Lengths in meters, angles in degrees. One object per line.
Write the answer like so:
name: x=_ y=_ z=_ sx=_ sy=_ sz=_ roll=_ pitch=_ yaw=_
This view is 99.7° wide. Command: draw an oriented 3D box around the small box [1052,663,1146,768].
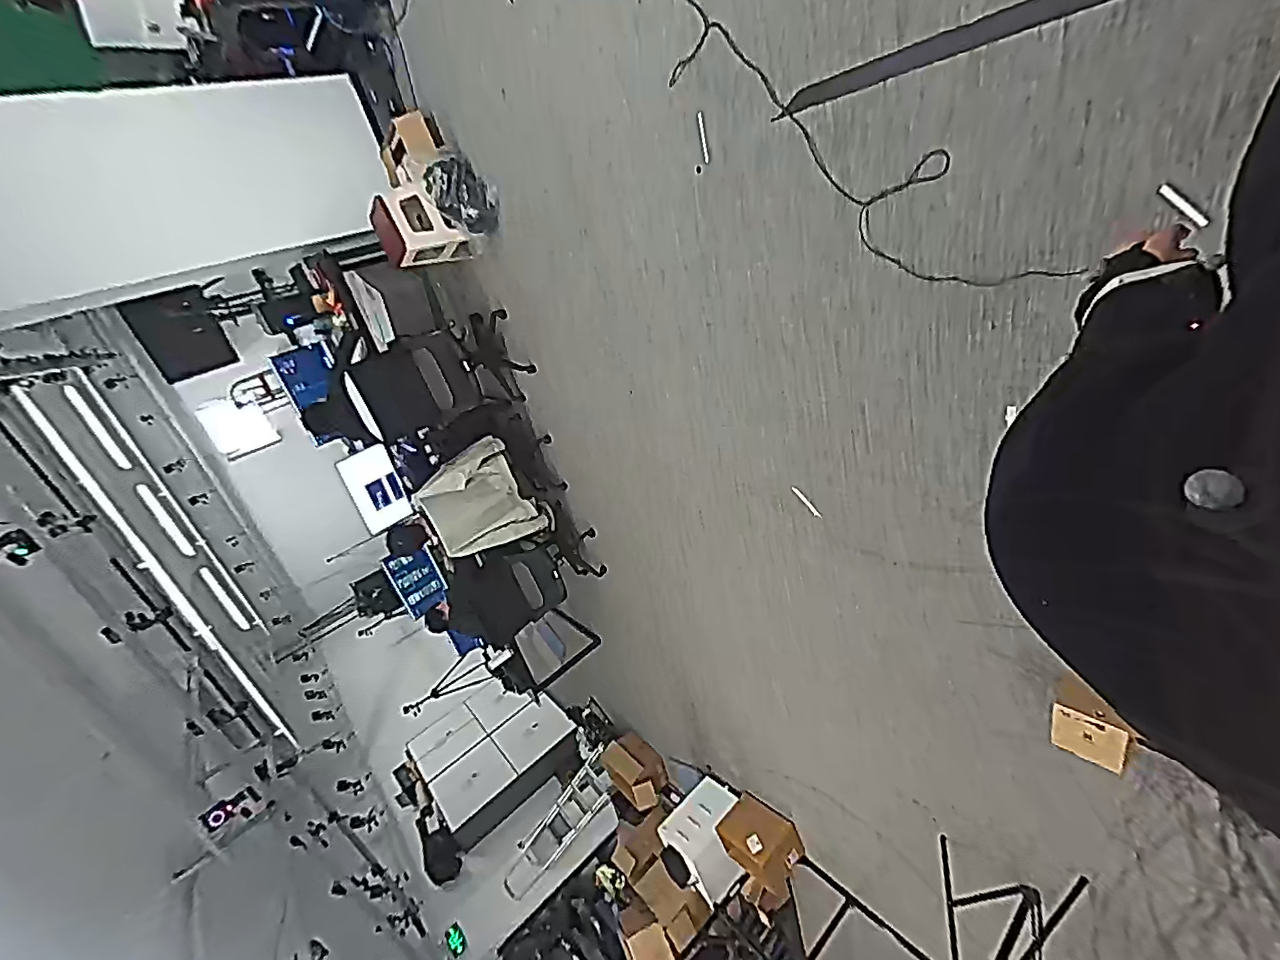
small box: x=1.311 y=0.665 z=1.544 sx=0.168 sy=0.176 sz=0.179 roll=16 pitch=132 yaw=50
